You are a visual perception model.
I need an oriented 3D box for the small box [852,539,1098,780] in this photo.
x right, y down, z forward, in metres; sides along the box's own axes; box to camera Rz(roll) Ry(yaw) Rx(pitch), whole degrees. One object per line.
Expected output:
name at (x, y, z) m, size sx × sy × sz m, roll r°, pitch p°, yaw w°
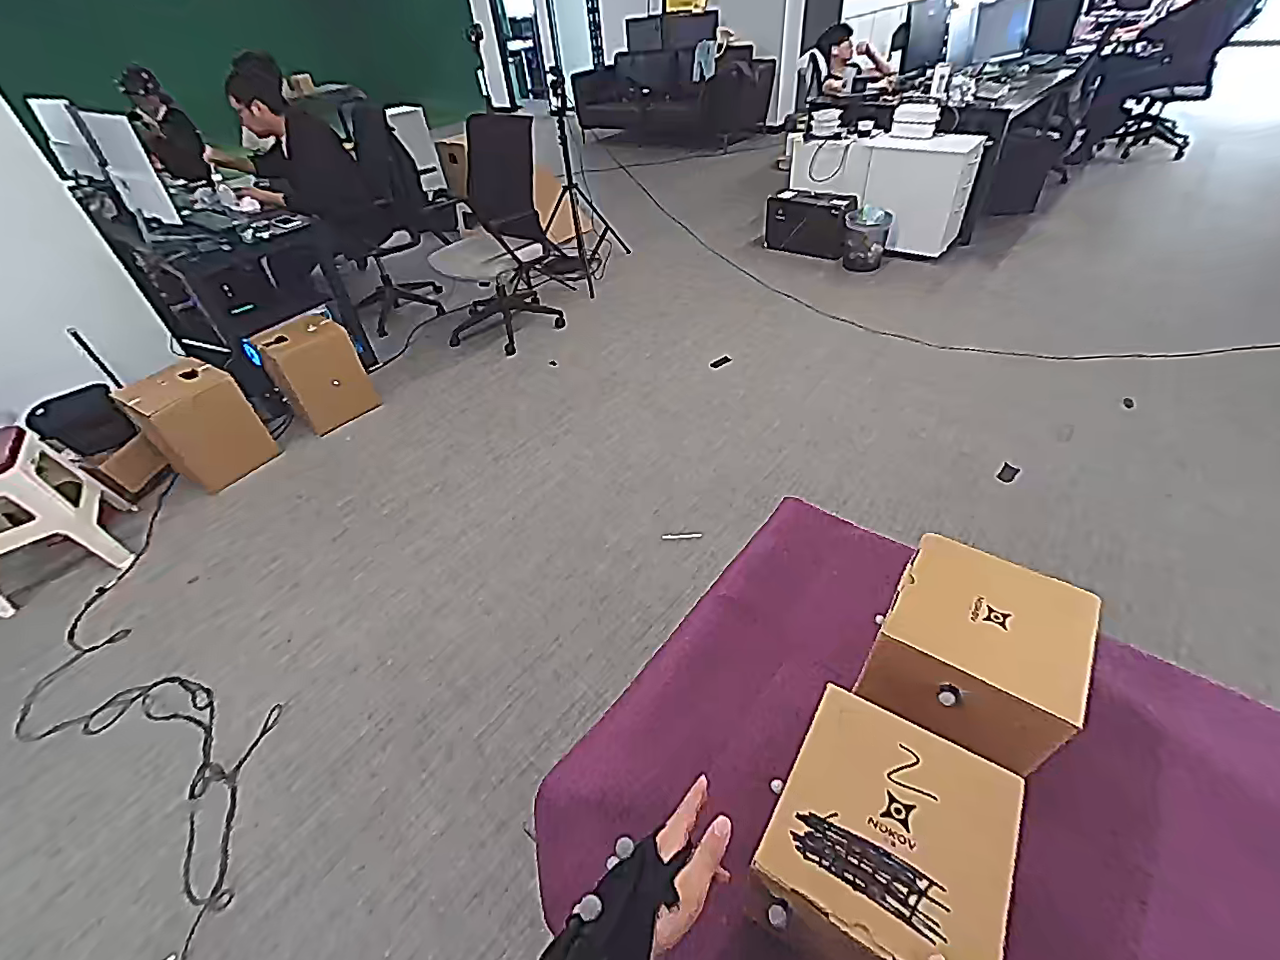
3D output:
small box at (0.366, 0.205, 0.613) m, size 0.179 × 0.176 × 0.168 m, roll 23°, pitch 50°, yaw 28°
